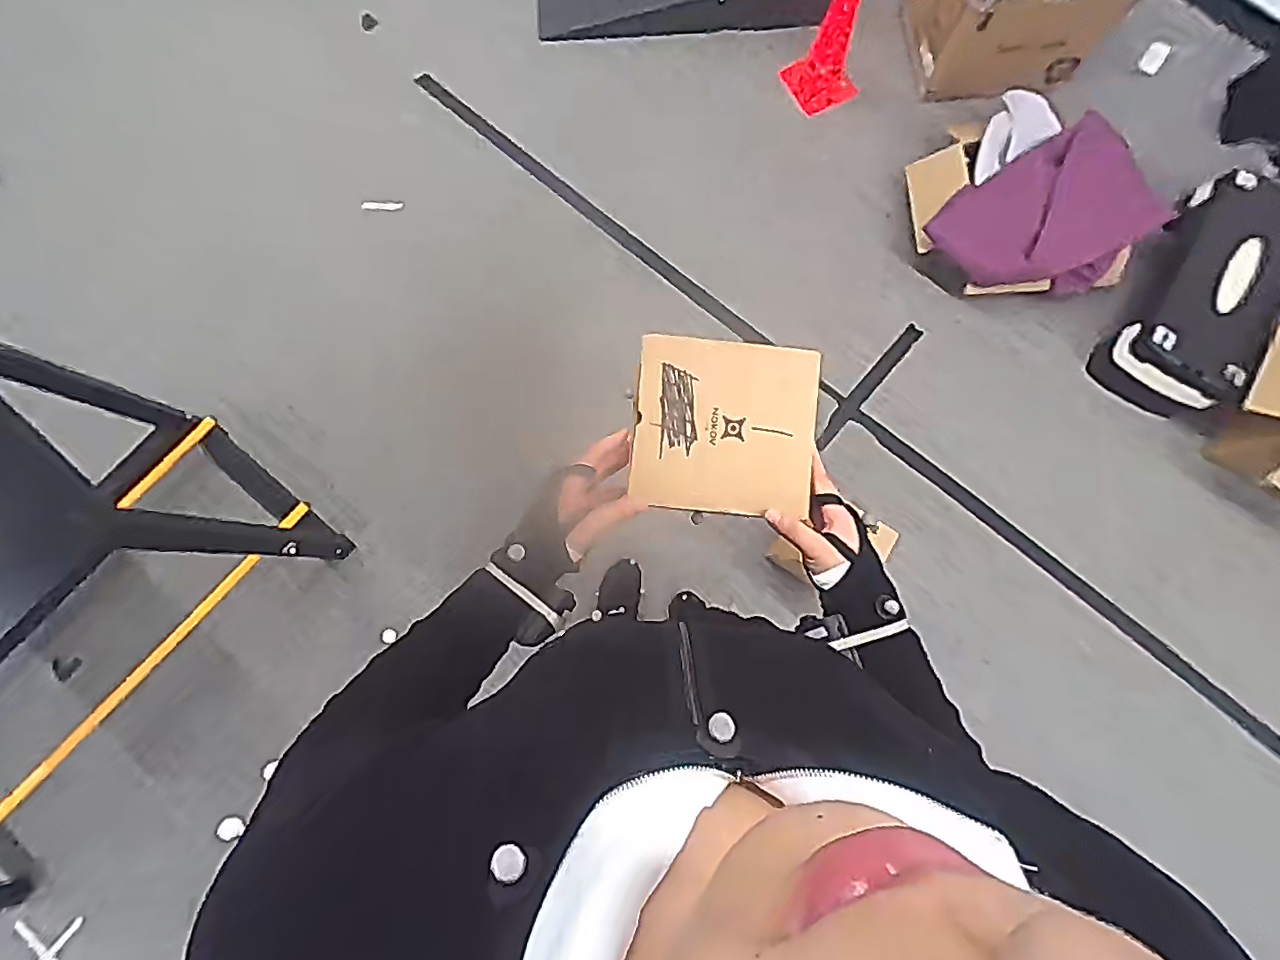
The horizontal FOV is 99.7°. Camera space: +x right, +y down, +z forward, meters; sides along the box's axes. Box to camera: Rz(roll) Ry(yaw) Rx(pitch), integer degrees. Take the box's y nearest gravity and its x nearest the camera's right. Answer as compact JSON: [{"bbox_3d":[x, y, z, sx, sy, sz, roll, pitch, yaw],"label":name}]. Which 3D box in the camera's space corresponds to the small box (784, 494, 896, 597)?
[{"bbox_3d":[0.461,0.158,1.282,0.168,0.176,0.179,33,83,5],"label":"small box"}]

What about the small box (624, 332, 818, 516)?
[{"bbox_3d":[0.077,-0.049,0.593,0.179,0.176,0.168,5,87,-2],"label":"small box"}]

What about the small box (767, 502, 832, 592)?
[{"bbox_3d":[0.467,0.179,1.445,0.179,0.176,0.168,35,82,5],"label":"small box"}]
